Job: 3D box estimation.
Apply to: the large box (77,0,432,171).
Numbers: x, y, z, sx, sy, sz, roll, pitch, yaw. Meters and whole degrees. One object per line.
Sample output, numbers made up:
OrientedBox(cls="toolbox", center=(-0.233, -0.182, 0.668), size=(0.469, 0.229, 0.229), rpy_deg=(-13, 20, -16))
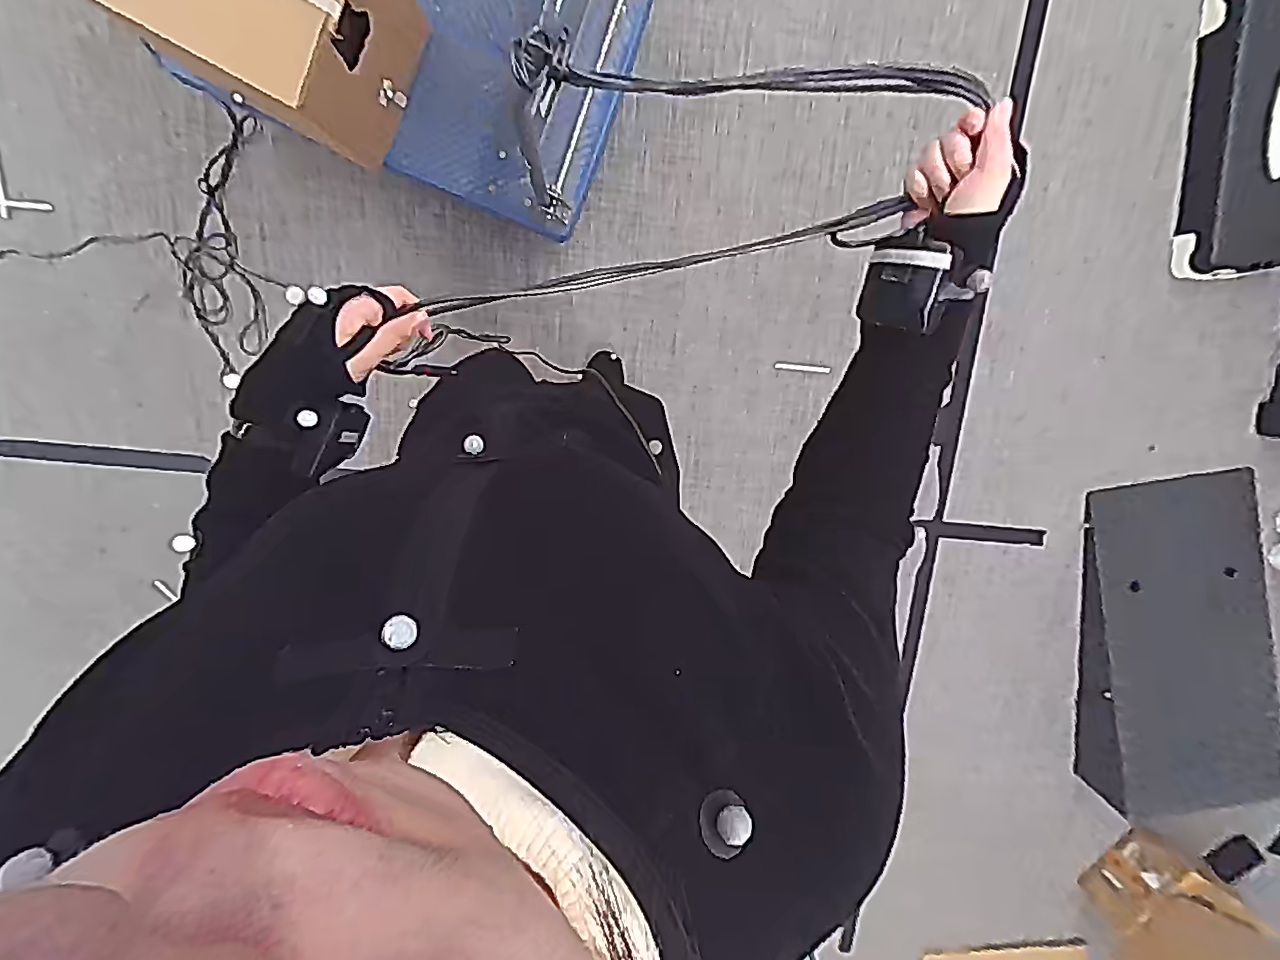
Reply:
OrientedBox(cls="large box", center=(-0.646, -0.825, 0.938), size=(0.408, 0.320, 0.320), rpy_deg=(26, 99, -8))
